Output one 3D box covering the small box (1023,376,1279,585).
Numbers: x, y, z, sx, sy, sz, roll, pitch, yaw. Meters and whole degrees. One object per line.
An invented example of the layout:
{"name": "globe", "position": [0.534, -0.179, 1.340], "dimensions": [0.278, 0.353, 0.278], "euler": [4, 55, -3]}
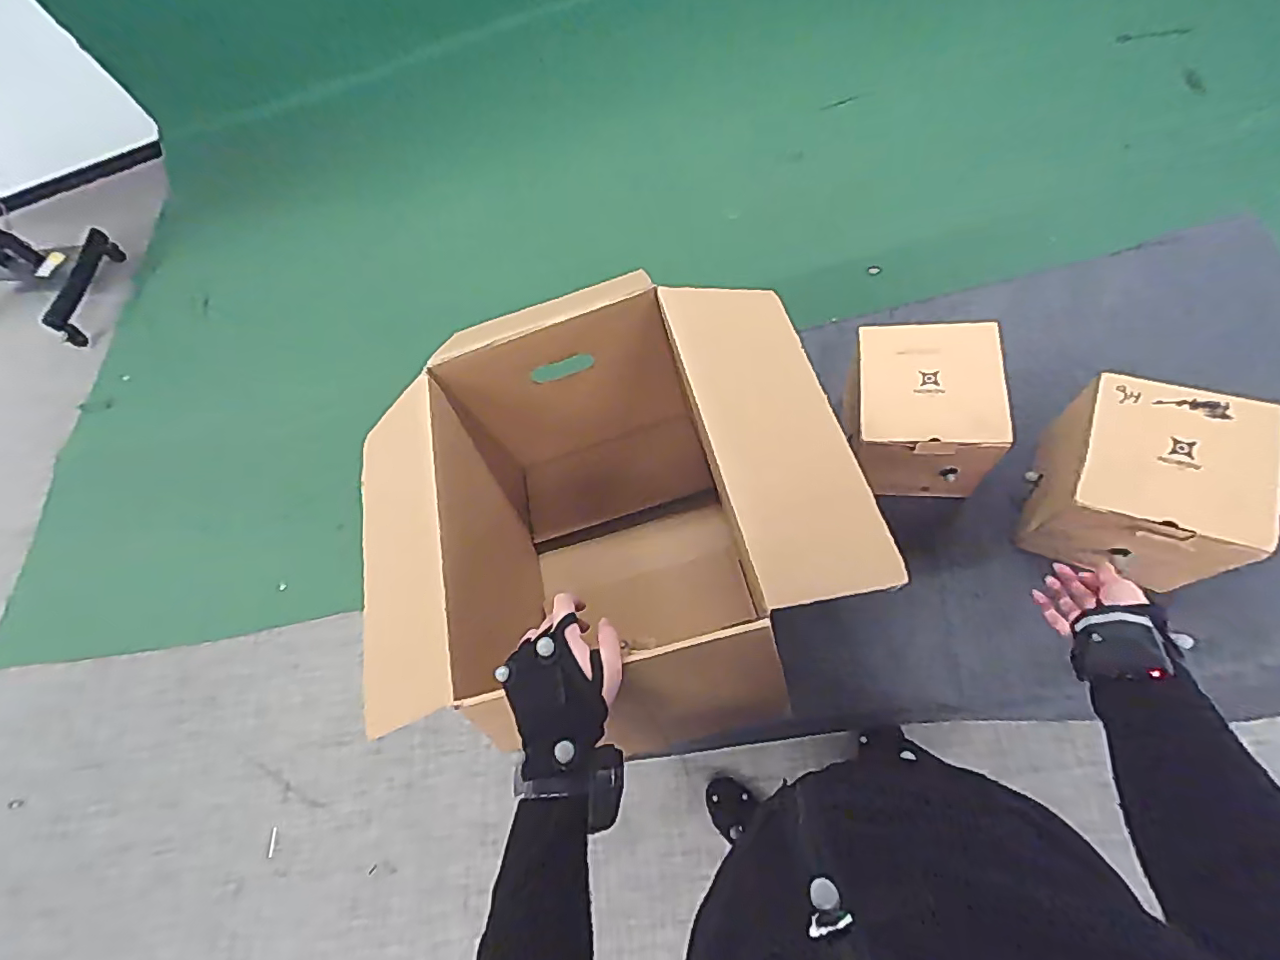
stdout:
{"name": "small box", "position": [0.596, 0.009, 0.649], "dimensions": [0.168, 0.176, 0.179], "euler": [20, 74, 21]}
